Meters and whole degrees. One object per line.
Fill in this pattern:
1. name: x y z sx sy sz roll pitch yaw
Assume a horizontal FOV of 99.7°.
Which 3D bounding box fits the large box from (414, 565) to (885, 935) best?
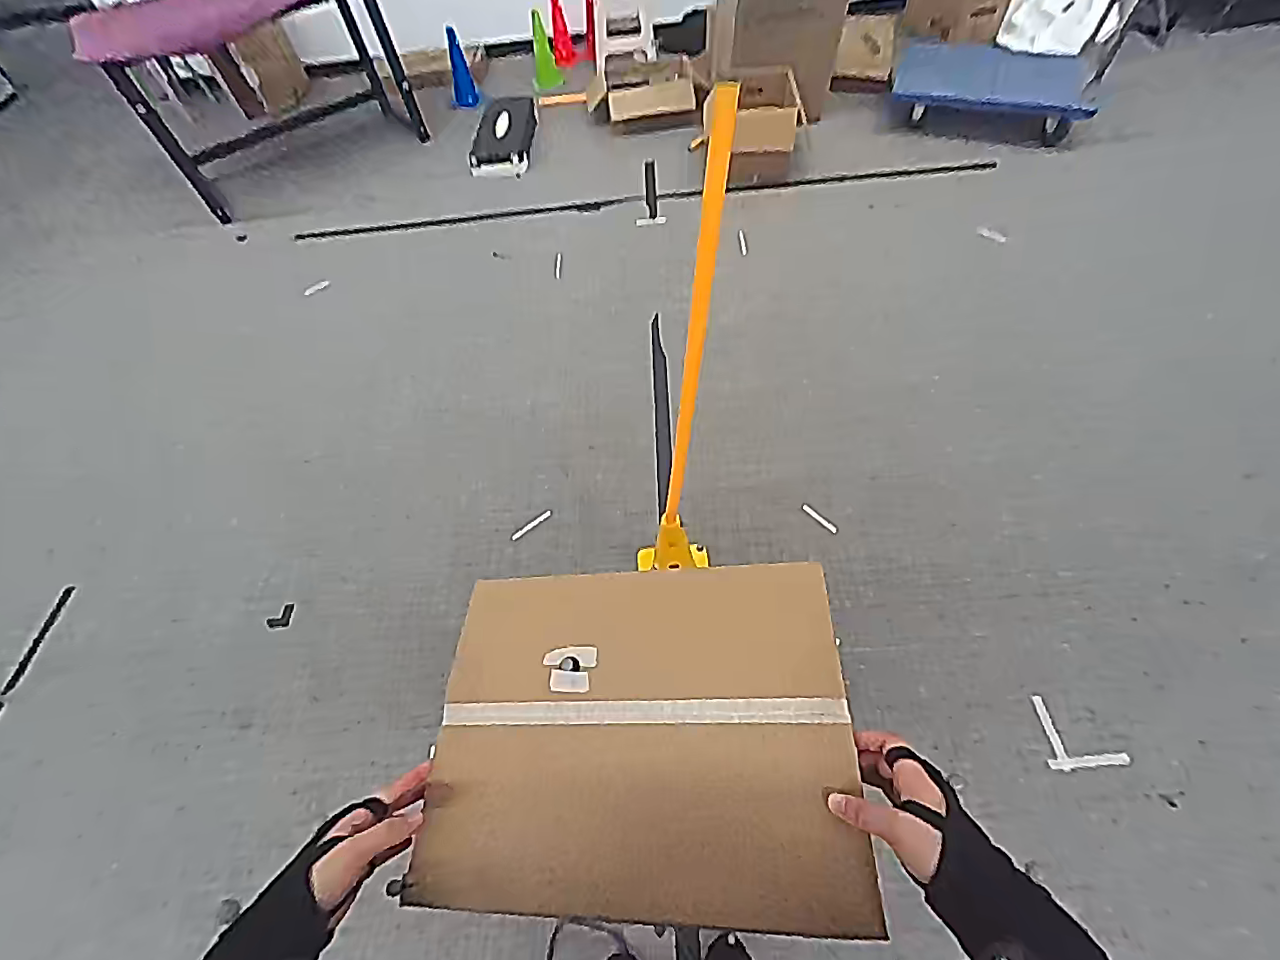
1. large box: 0.028 0.322 0.645 0.408 0.320 0.320 -6 52 11
